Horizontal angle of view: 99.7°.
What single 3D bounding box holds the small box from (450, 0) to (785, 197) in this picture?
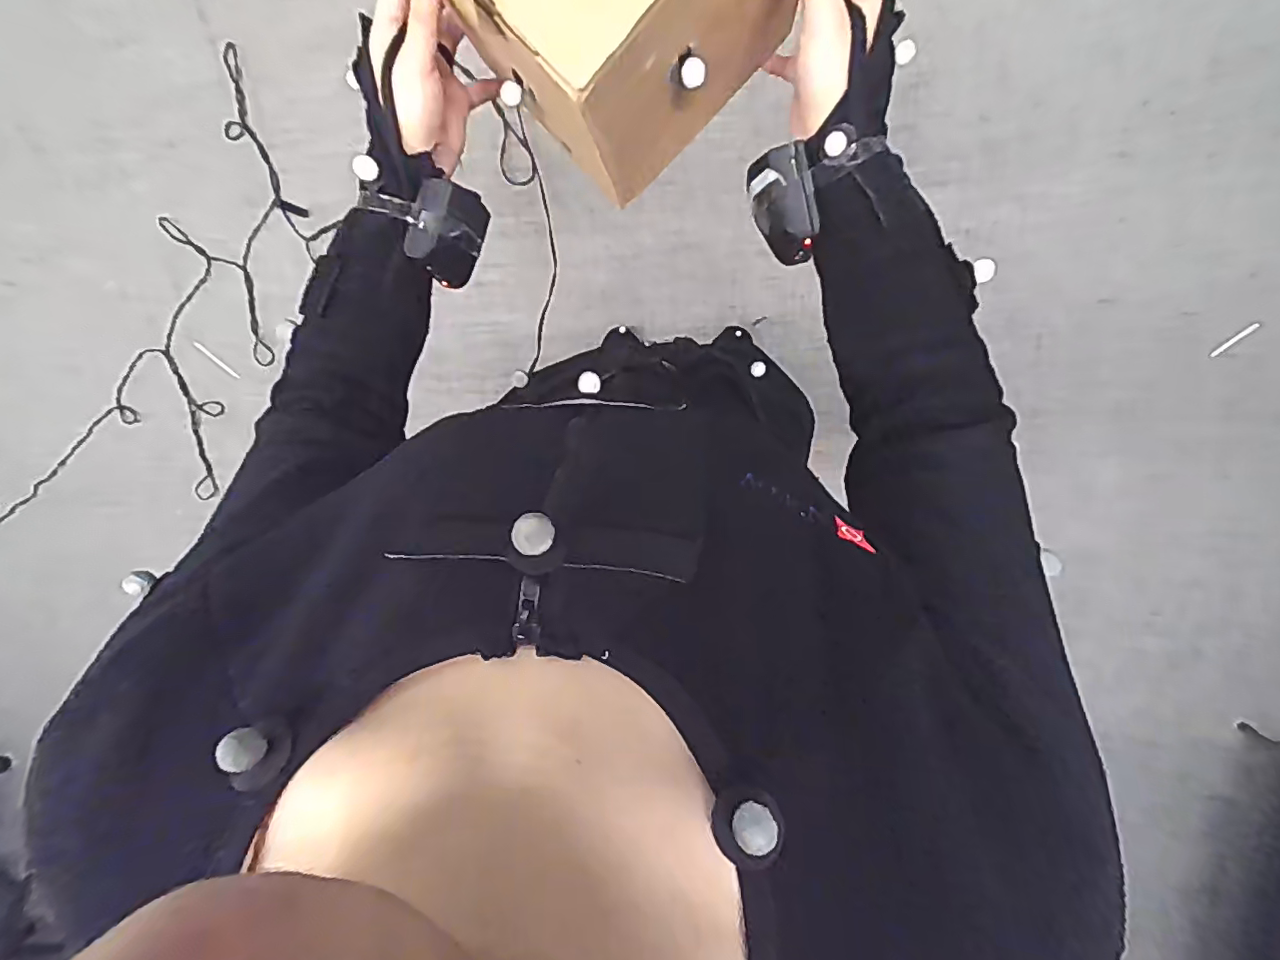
[{"bbox_3d":[-0.015,-0.321,0.339,0.179,0.176,0.168,-43,92,12],"label":"small box"}]
